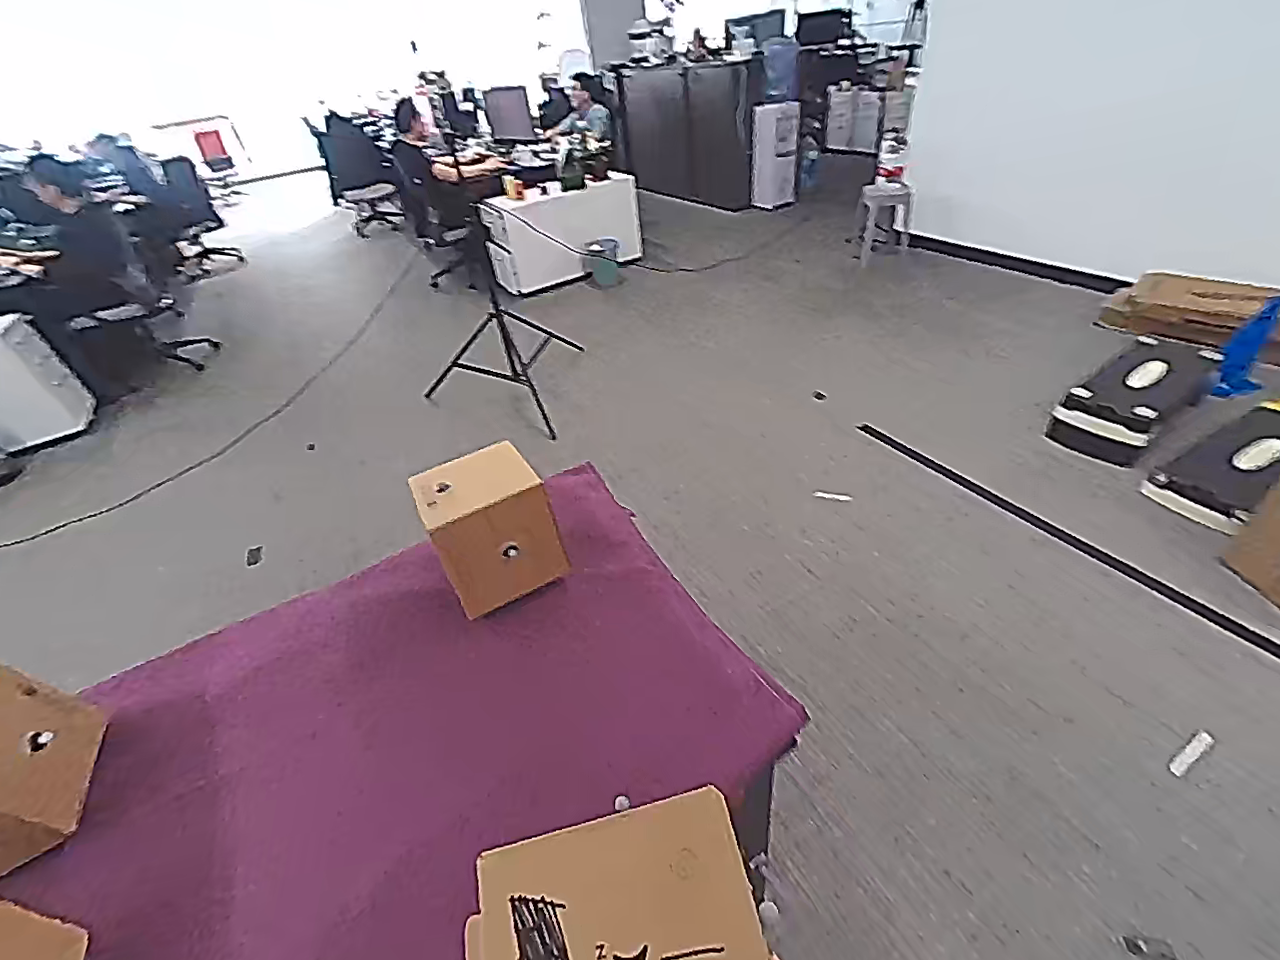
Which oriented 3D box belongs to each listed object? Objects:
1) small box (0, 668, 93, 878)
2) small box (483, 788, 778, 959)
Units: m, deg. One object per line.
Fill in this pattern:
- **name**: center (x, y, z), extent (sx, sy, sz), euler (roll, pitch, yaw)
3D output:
- **small box**: center (-0.771, 0.343, 0.600), extent (0.179, 0.168, 0.176), euler (-29, 42, -12)
- **small box**: center (0.006, 0.343, 0.394), extent (0.179, 0.176, 0.168), euler (-17, 57, 0)
